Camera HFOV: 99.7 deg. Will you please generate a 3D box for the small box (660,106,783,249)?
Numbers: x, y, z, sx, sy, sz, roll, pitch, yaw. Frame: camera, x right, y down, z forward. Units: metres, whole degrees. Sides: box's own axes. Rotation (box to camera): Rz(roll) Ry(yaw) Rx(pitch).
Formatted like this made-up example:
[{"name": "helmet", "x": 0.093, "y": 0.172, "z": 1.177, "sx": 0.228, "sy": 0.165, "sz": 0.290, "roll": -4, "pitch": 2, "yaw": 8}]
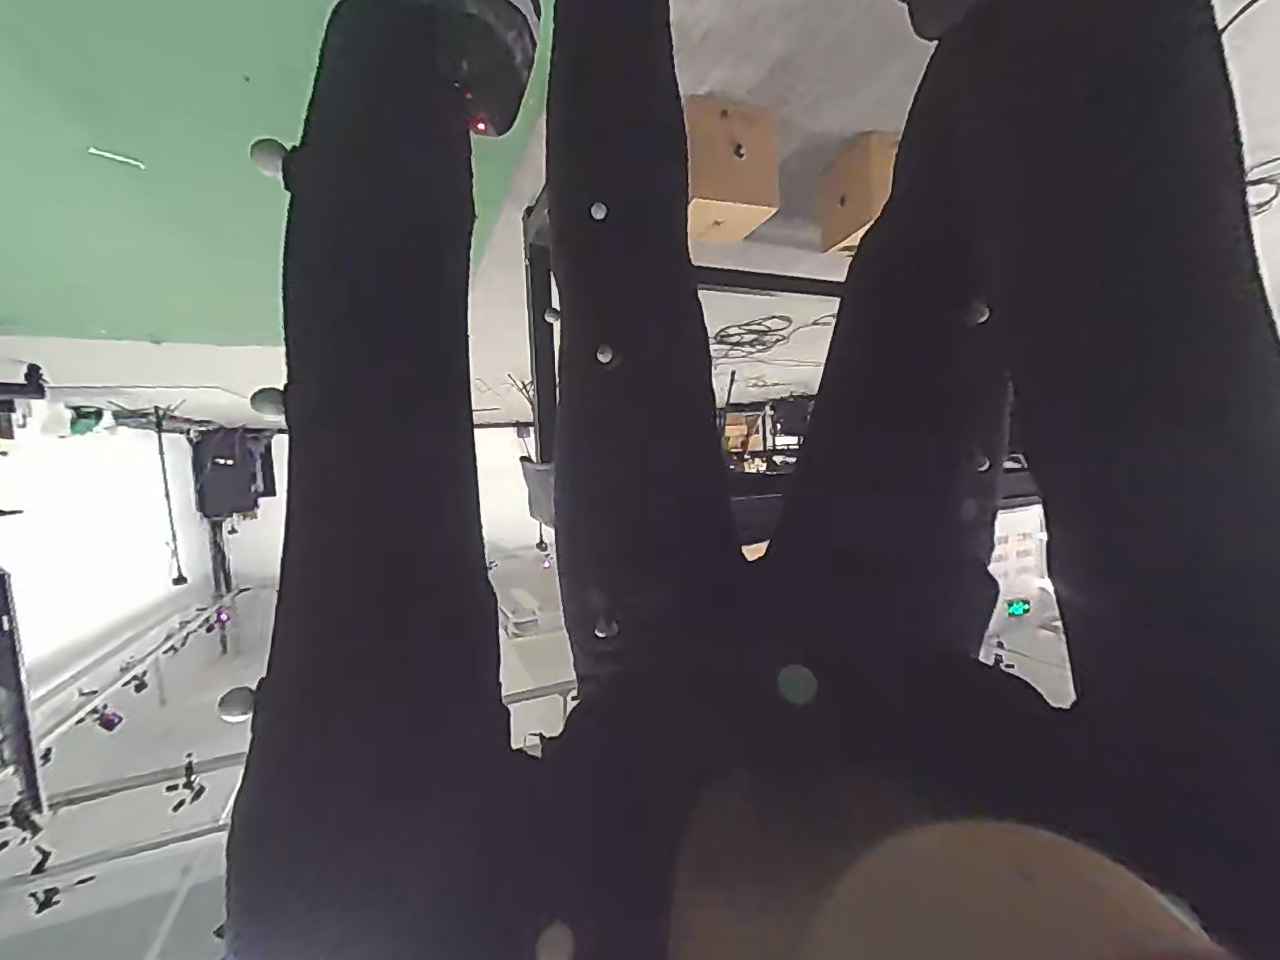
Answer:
[{"name": "small box", "x": 0.140, "y": -0.545, "z": 0.991, "sx": 0.168, "sy": 0.176, "sz": 0.179, "roll": -3, "pitch": -177, "yaw": -19}]
